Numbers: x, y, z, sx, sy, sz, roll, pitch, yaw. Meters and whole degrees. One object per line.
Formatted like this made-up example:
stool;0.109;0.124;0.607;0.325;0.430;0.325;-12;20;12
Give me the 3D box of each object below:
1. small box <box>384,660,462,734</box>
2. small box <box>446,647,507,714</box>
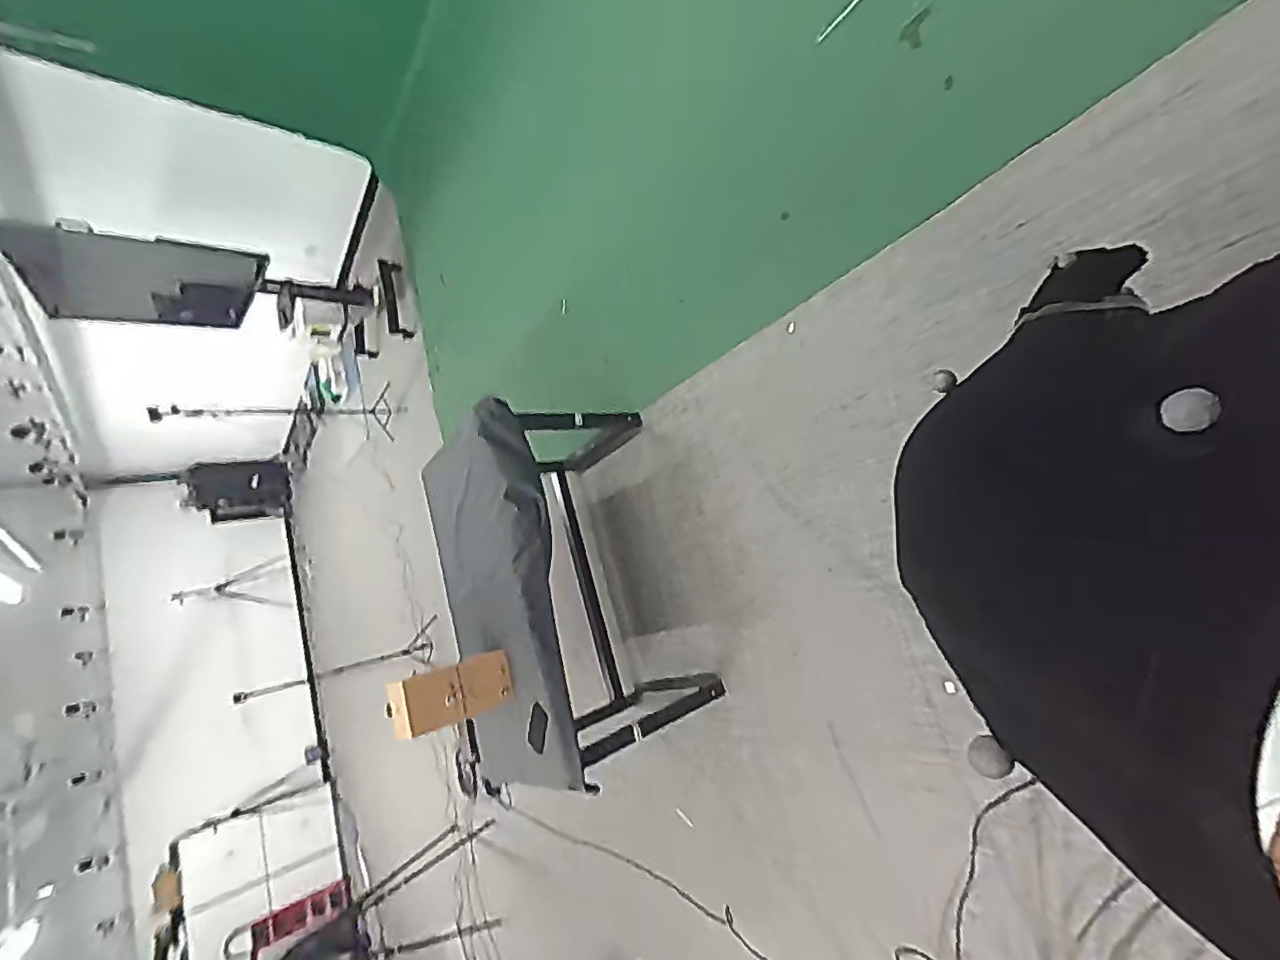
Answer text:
small box;-0.667;0.664;1.663;0.179;0.176;0.168;-28;74;46
small box;-0.548;0.655;1.772;0.179;0.176;0.168;-27;74;48
